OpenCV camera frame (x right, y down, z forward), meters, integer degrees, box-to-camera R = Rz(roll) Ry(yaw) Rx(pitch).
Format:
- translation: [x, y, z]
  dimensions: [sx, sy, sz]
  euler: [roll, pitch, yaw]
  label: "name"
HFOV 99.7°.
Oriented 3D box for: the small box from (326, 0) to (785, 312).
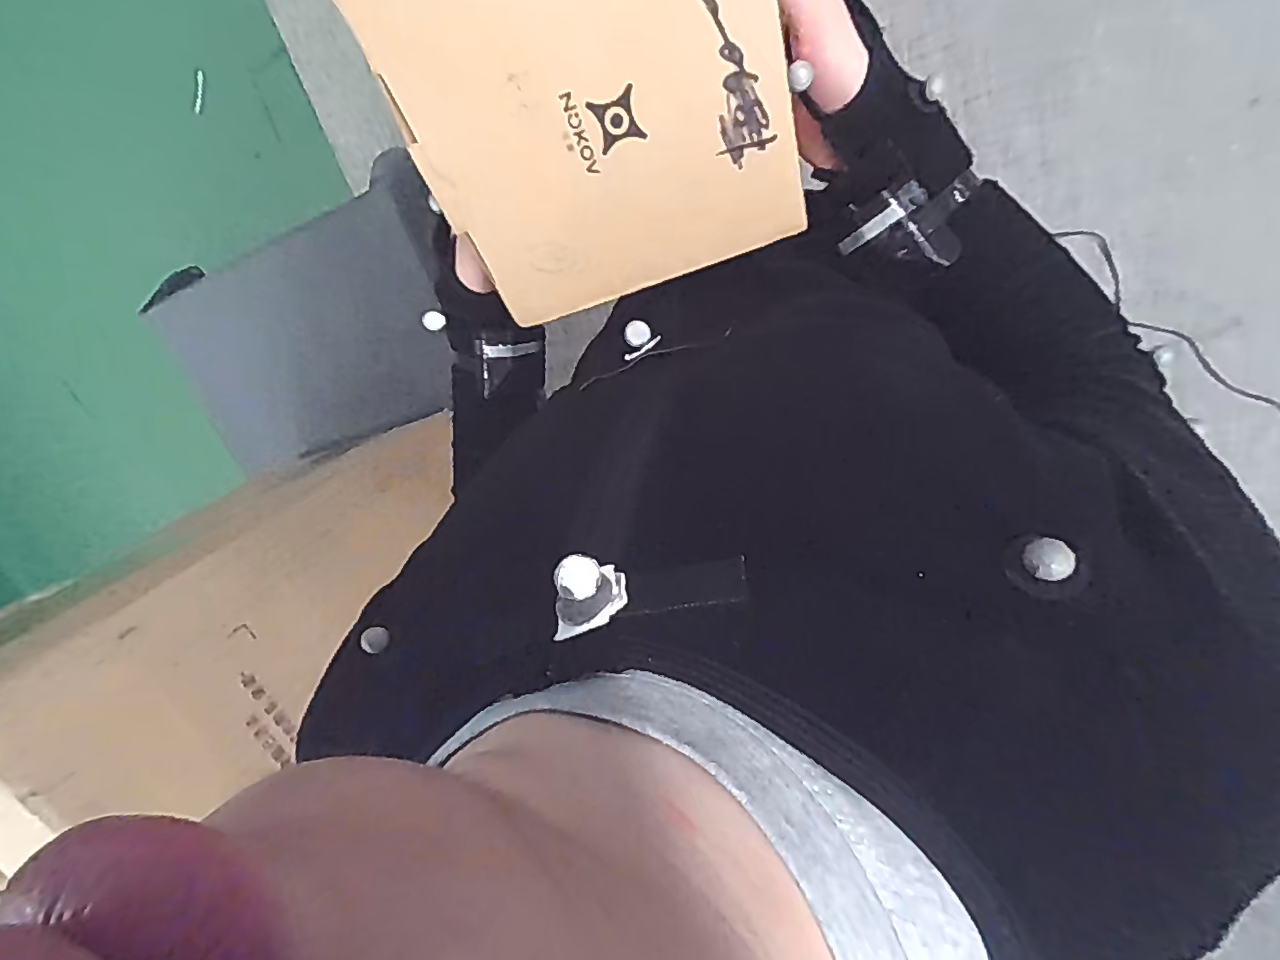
- translation: [-0.026, -0.227, 0.307]
  dimensions: [0.179, 0.176, 0.168]
  euler: [-12, 135, 13]
  label: "small box"
